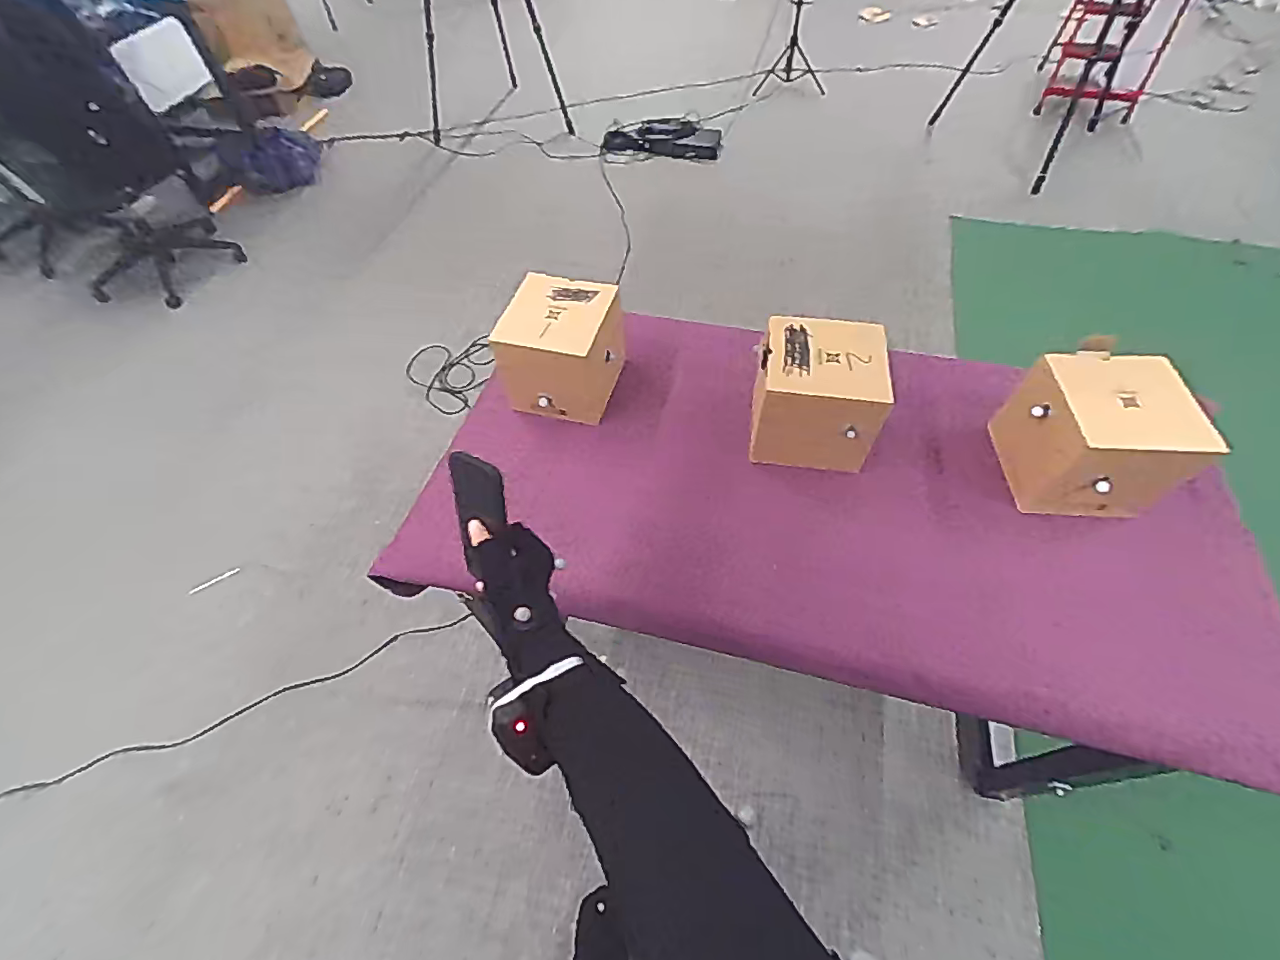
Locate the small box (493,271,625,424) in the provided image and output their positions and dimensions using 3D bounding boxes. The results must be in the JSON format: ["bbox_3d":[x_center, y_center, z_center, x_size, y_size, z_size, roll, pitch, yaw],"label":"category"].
[{"bbox_3d":[-0.127,-0.225,0.932,0.168,0.176,0.179,13,59,11],"label":"small box"}]

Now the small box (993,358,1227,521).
[{"bbox_3d":[0.655,-0.055,0.784,0.168,0.176,0.179,3,55,5],"label":"small box"}]
